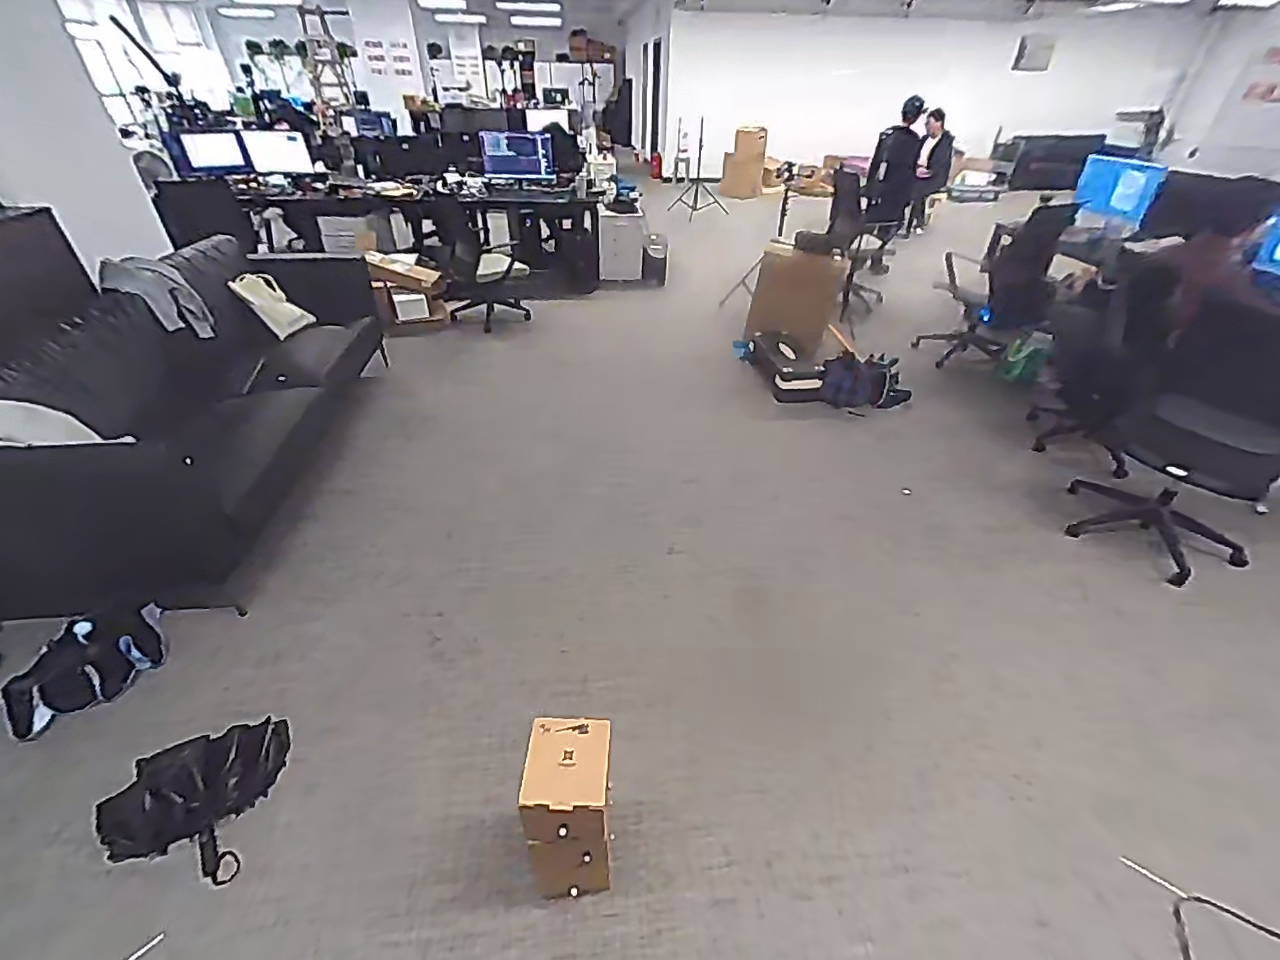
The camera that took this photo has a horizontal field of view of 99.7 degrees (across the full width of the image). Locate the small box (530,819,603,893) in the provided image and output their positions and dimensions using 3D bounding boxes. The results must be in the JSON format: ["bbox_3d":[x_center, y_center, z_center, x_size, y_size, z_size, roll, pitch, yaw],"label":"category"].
[{"bbox_3d":[-0.177,0.872,1.323,0.168,0.176,0.179,-3,39,-6],"label":"small box"}]

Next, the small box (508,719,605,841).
[{"bbox_3d":[-0.162,0.621,1.117,0.168,0.176,0.179,2,39,0],"label":"small box"}]

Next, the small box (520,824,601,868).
[{"bbox_3d":[-0.174,0.748,1.220,0.168,0.176,0.179,-2,37,-6],"label":"small box"}]
